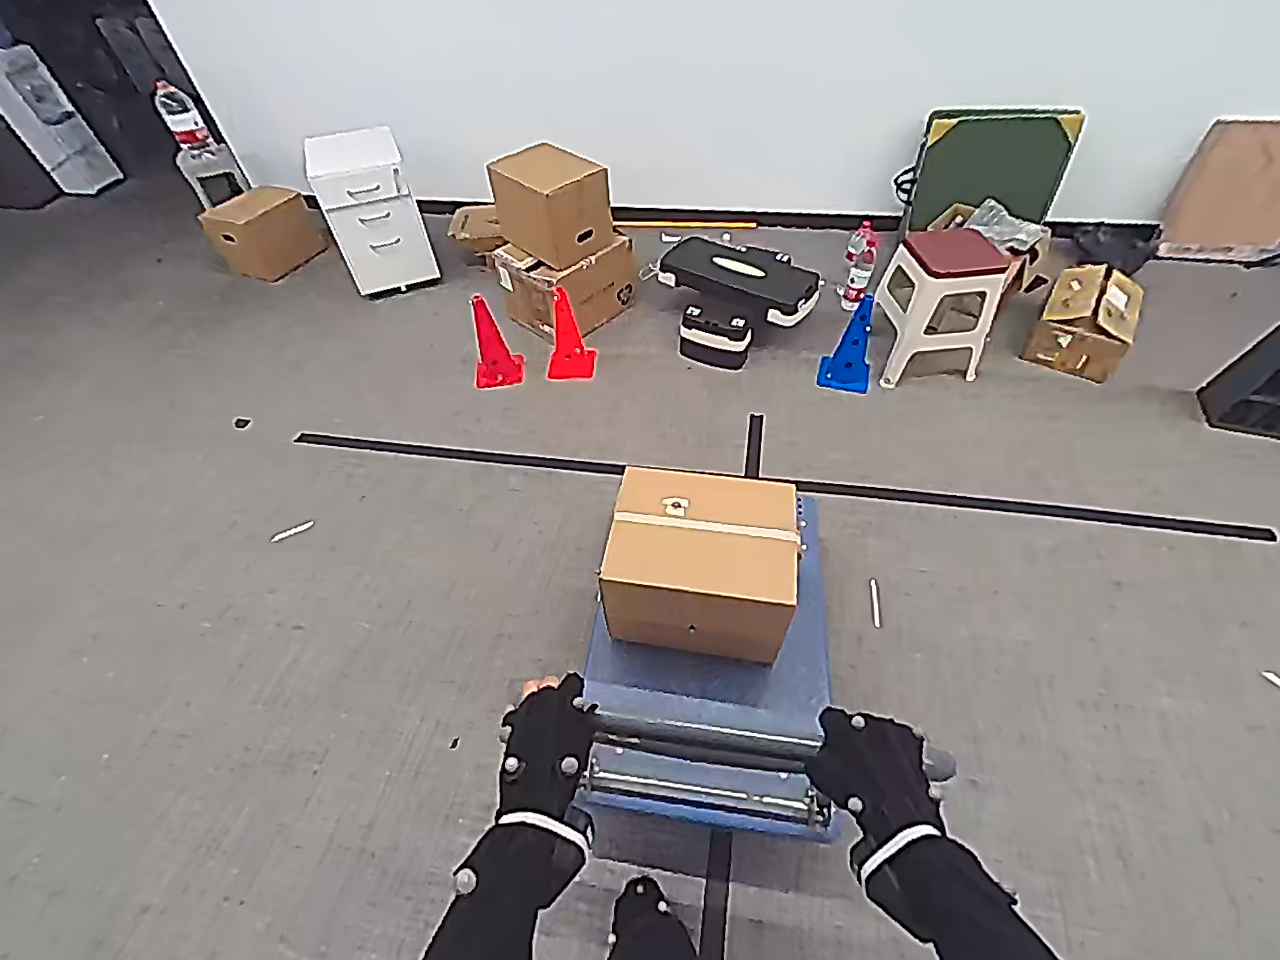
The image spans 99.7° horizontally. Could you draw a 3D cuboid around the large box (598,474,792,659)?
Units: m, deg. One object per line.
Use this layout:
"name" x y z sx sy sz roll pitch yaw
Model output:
"large box" 0.141 0.212 1.312 0.408 0.320 0.320 6 51 9
